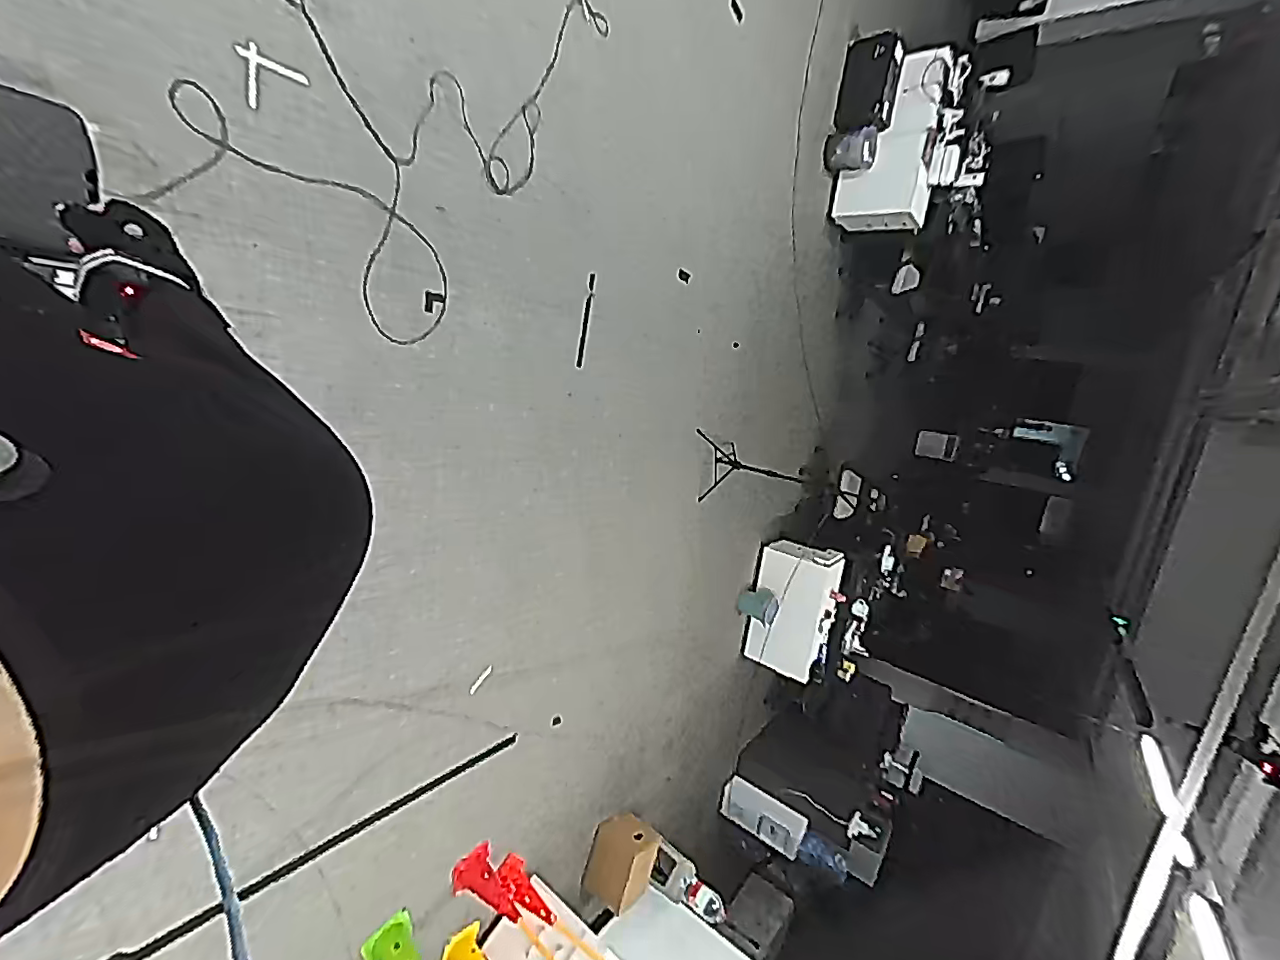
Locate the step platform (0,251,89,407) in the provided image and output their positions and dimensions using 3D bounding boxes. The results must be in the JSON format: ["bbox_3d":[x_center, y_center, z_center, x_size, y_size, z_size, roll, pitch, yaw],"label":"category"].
[{"bbox_3d":[-1.349,-0.266,0.846,0.684,0.204,0.286,-8,110,-51],"label":"step platform"}]
